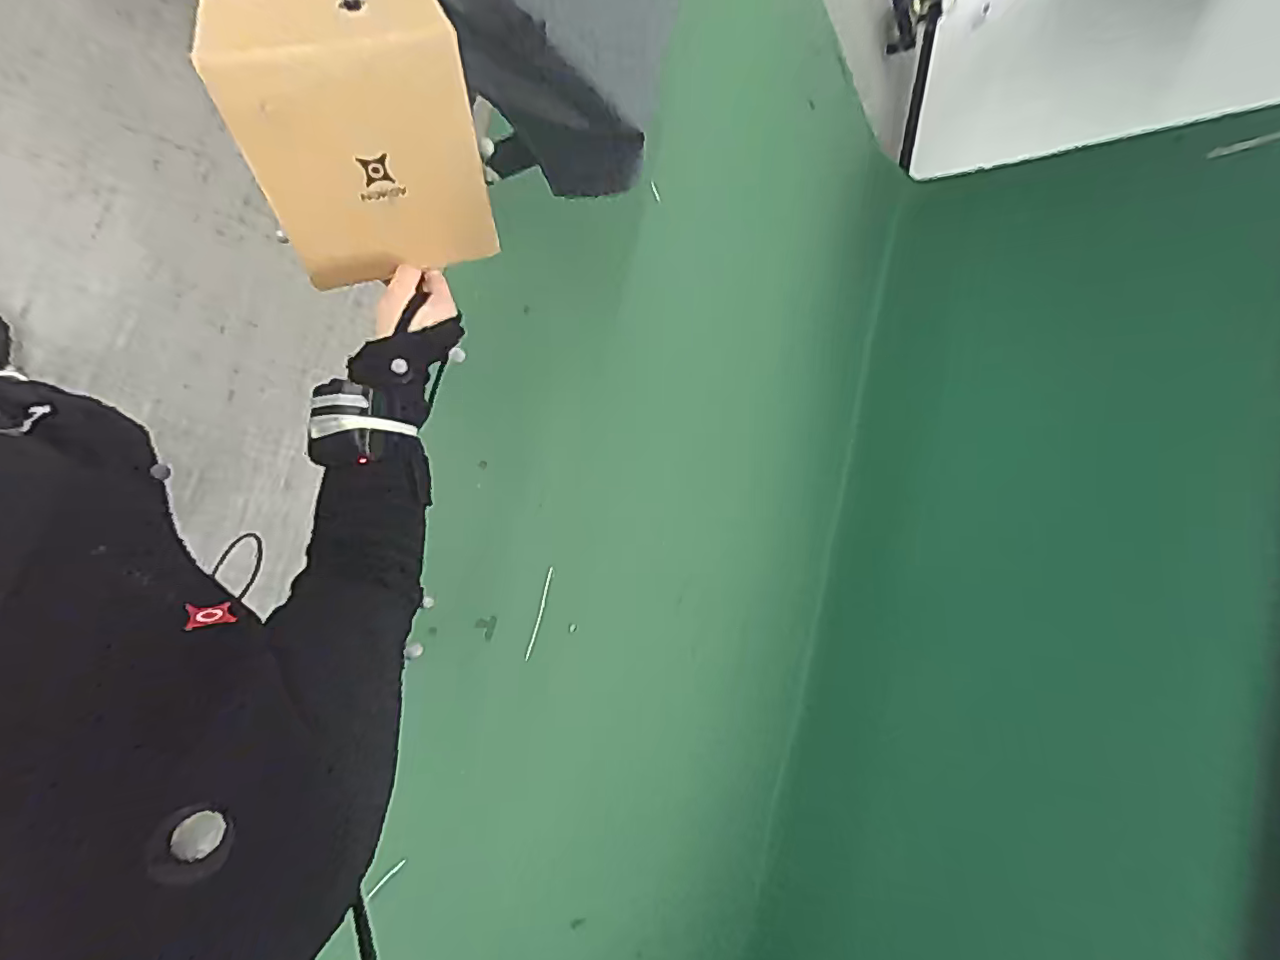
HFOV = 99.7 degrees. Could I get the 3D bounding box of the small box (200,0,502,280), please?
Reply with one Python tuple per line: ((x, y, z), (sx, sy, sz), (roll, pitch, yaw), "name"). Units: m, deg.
((-0.234, -0.309, 0.461), (0.168, 0.176, 0.179), (-19, 150, -14), "small box")
